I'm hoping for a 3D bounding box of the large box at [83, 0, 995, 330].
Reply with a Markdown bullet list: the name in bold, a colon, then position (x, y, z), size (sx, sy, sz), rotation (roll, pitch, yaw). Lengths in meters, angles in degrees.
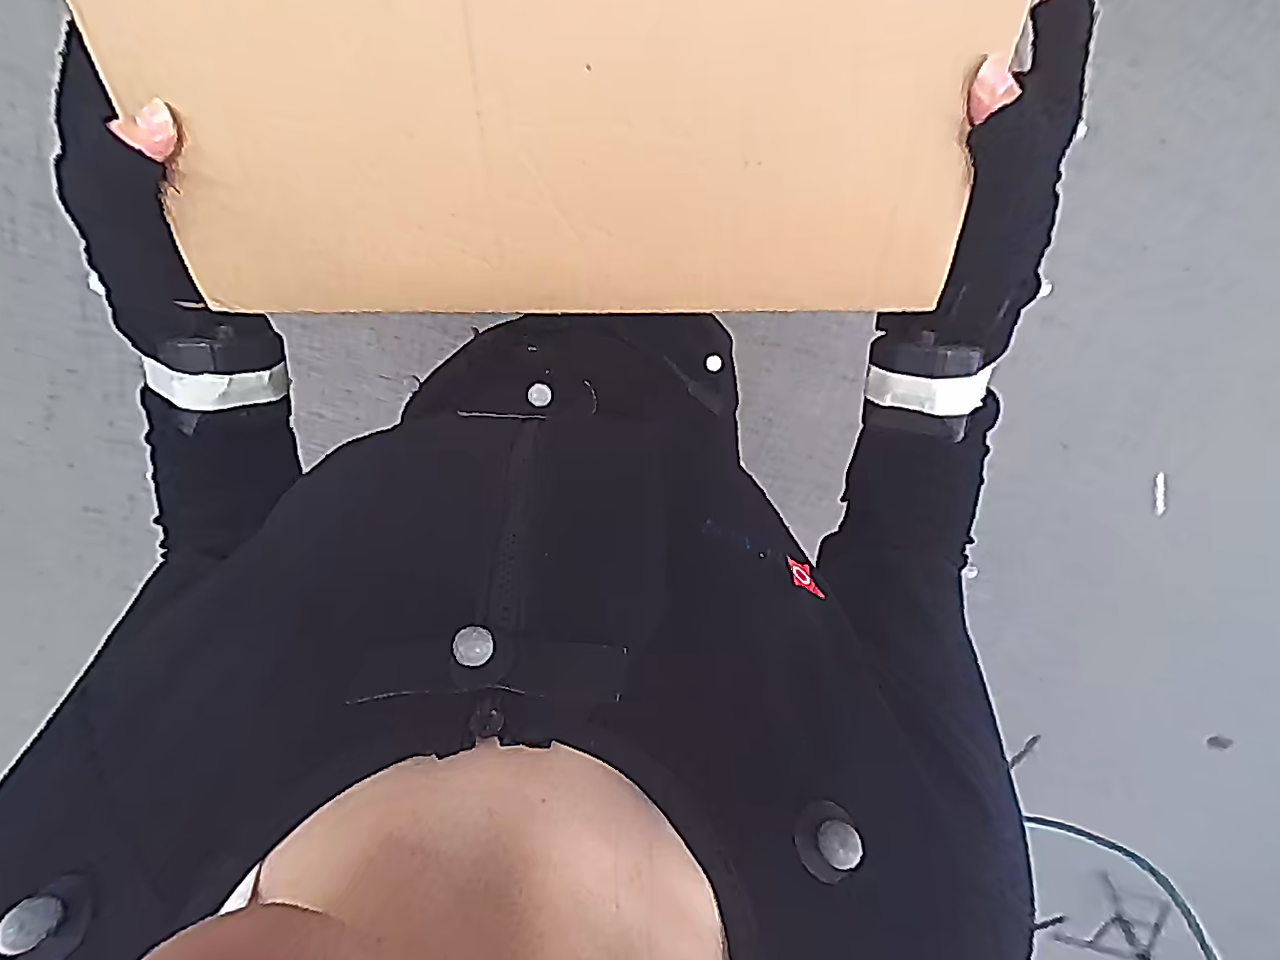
- **large box**: position (-0.041, -0.304, 0.349), size (0.408, 0.320, 0.320), rotation (-1, 124, 1)
